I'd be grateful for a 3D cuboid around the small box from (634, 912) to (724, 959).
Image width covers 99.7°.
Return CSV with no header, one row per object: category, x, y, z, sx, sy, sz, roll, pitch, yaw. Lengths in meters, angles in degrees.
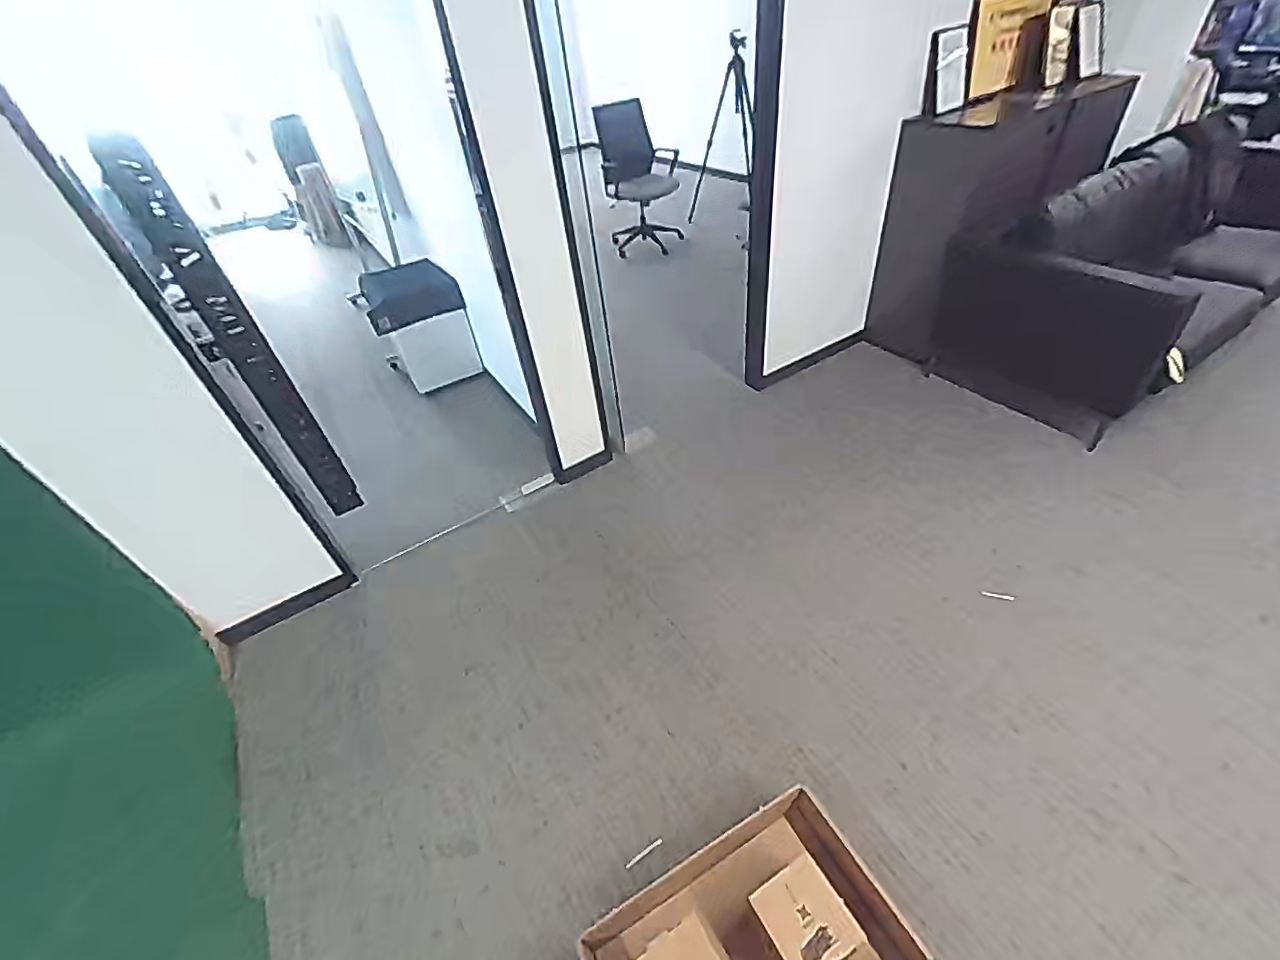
small box,0.089,0.931,0.960,0.168,0.176,0.179,-26,42,-18
